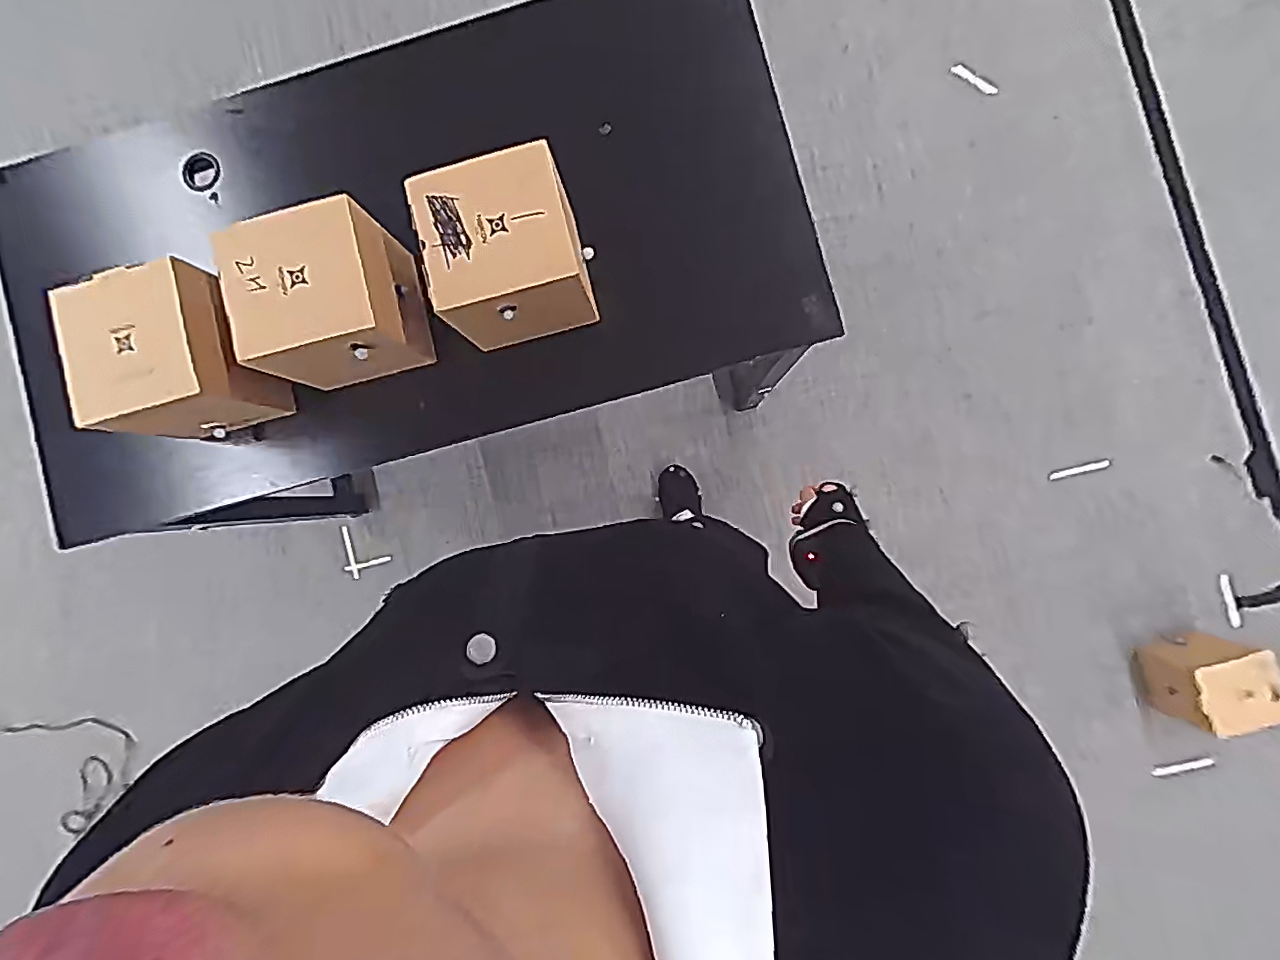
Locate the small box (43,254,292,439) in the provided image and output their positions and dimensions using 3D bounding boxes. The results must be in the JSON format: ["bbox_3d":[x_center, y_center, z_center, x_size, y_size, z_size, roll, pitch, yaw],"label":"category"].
[{"bbox_3d":[-0.610,-0.163,0.720,0.168,0.176,0.179,-15,88,4],"label":"small box"}]

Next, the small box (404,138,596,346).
[{"bbox_3d":[-0.167,-0.287,0.694,0.179,0.176,0.168,-14,88,2],"label":"small box"}]

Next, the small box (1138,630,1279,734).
[{"bbox_3d":[1.373,0.483,1.315,0.179,0.176,0.168,-17,88,4],"label":"small box"}]

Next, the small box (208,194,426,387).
[{"bbox_3d":[-0.401,-0.233,0.707,0.179,0.176,0.168,-14,87,3],"label":"small box"}]
